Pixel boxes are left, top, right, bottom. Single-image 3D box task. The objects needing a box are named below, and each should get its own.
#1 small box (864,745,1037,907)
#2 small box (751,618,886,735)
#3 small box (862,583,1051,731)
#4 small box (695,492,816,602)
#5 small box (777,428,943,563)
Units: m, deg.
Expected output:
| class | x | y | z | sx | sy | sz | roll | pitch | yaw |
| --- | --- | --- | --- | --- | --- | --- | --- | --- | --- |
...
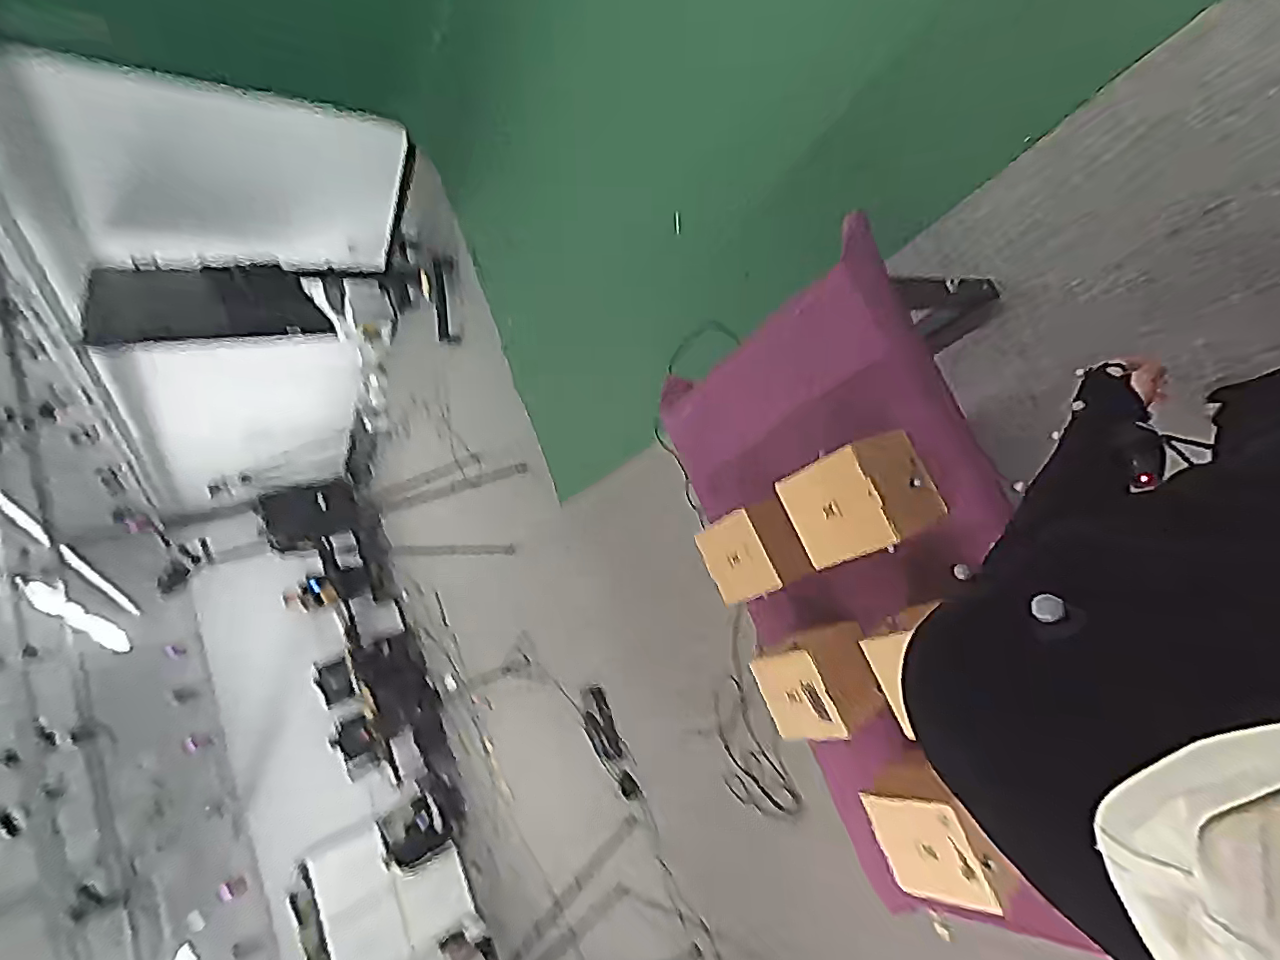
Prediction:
| class | x | y | z | sx | sy | sz | roll | pitch | yaw |
| --- | --- | --- | --- | --- | --- | --- | --- | --- | --- |
| small box | 0.537 | 0.582 | 0.940 | 0.179 | 0.176 | 0.168 | -36 | 75 | 51 |
| small box | 0.367 | 0.395 | 1.095 | 0.179 | 0.176 | 0.168 | -39 | 71 | 51 |
| small box | 0.508 | 0.284 | 0.873 | 0.179 | 0.176 | 0.168 | -40 | 71 | 51 |
| small box | 0.256 | 0.138 | 1.149 | 0.179 | 0.176 | 0.168 | -39 | 72 | 49 |
| small box | 0.383 | 0.026 | 0.947 | 0.179 | 0.176 | 0.168 | -39 | 71 | 51 |
